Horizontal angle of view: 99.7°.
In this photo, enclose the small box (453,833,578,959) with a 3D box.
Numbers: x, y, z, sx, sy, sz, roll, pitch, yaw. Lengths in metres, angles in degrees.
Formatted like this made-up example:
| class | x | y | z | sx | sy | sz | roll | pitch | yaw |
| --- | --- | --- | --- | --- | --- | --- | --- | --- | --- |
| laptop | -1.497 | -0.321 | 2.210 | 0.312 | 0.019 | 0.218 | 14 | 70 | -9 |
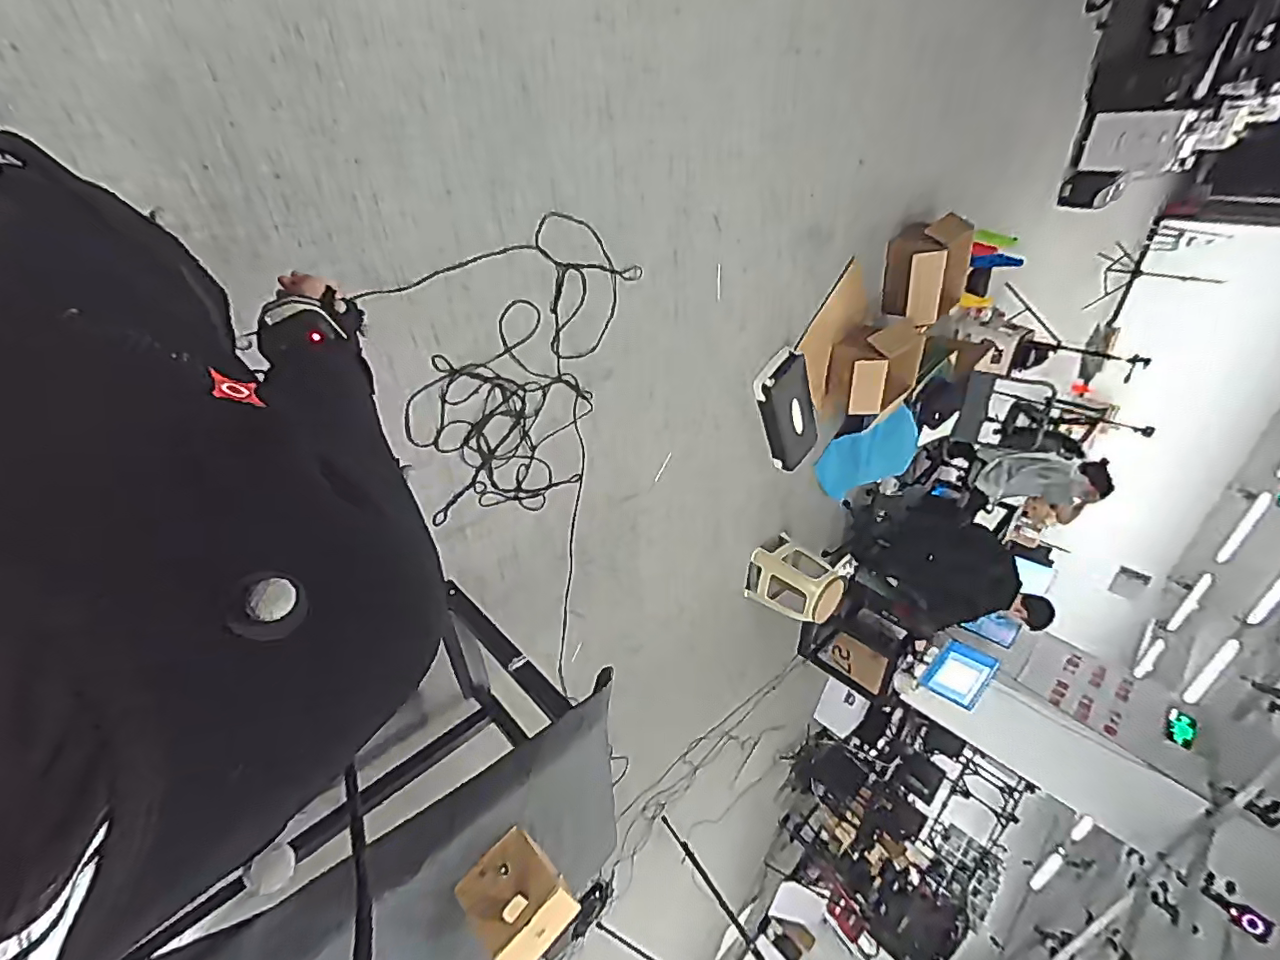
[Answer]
| class | x | y | z | sx | sy | sz | roll | pitch | yaw |
| --- | --- | --- | --- | --- | --- | --- | --- | --- | --- |
| small box | -0.263 | 0.901 | 1.151 | 0.168 | 0.176 | 0.179 | -38 | 135 | -26 |
